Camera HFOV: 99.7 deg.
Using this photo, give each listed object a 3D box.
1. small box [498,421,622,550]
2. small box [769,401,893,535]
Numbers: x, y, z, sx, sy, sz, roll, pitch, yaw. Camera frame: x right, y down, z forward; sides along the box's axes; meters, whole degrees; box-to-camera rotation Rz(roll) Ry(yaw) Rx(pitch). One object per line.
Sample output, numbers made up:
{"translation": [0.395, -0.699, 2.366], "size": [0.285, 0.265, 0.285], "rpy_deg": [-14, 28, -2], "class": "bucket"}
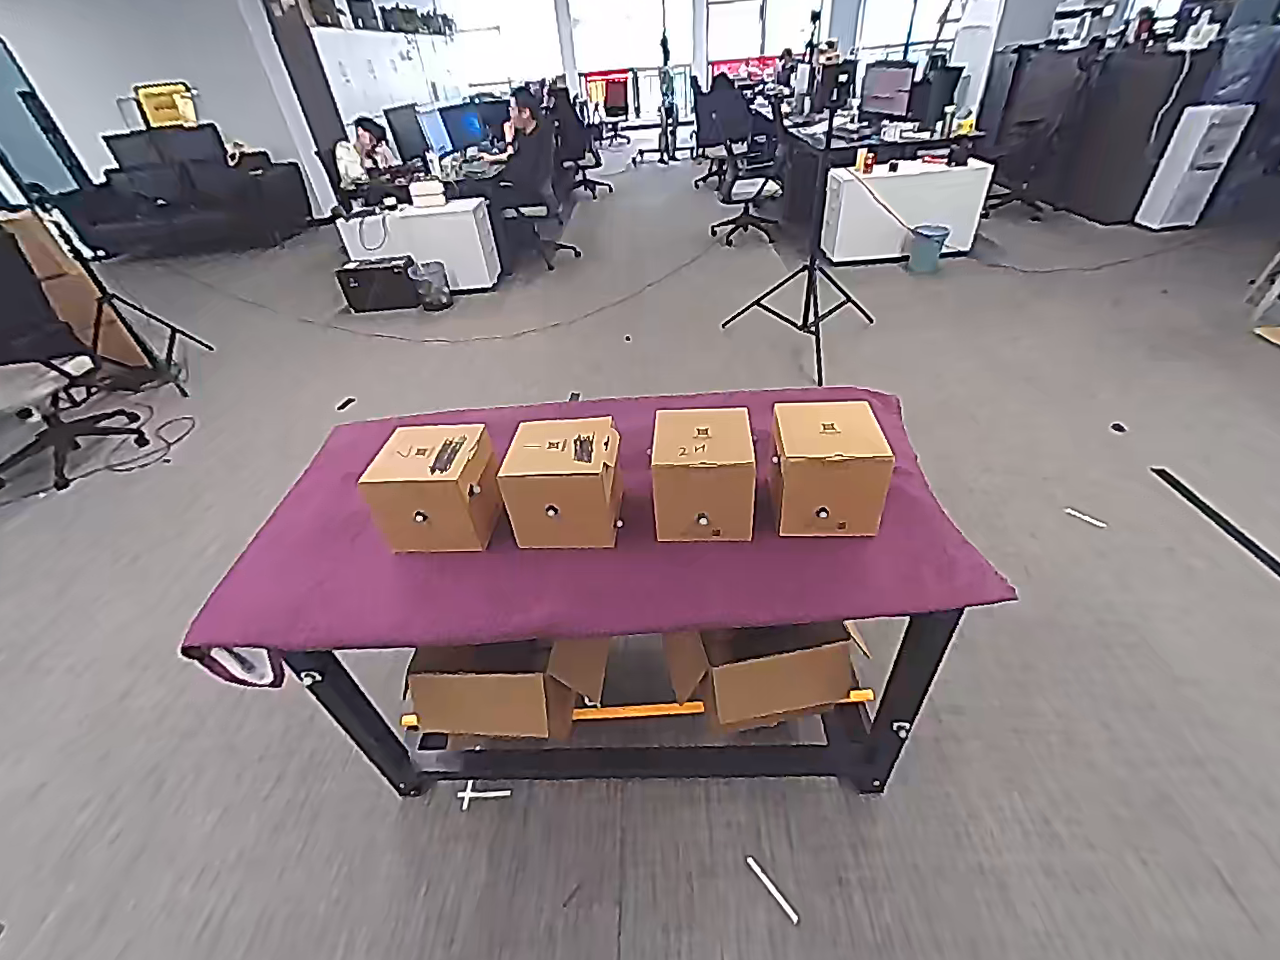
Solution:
{"translation": [-0.131, 0.011, 0.973], "size": [0.179, 0.176, 0.168], "rpy_deg": [-3, 38, 7], "class": "small box"}
{"translation": [0.322, -0.023, 0.950], "size": [0.168, 0.176, 0.179], "rpy_deg": [-2, 37, 7], "class": "small box"}
